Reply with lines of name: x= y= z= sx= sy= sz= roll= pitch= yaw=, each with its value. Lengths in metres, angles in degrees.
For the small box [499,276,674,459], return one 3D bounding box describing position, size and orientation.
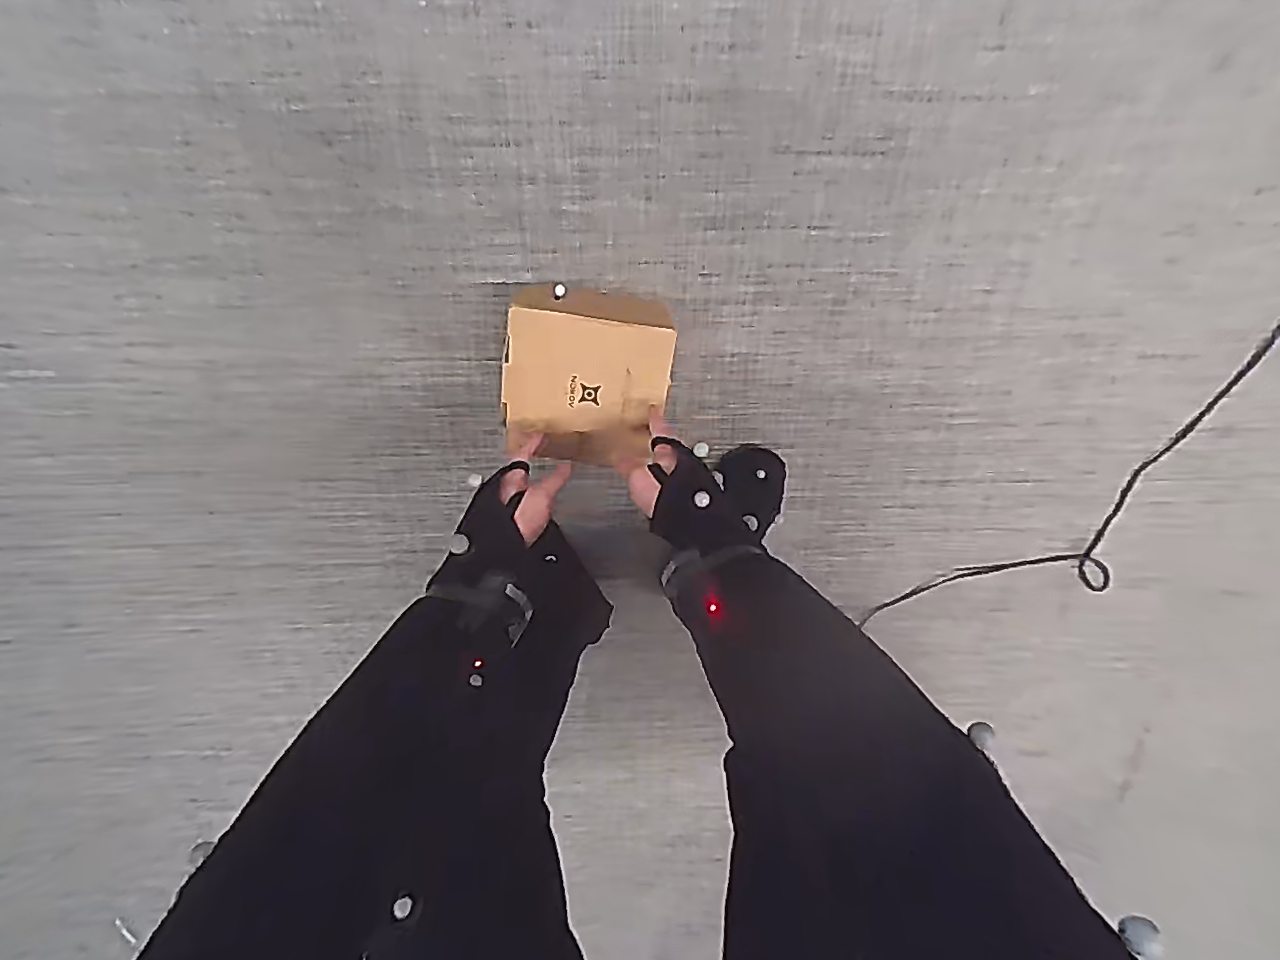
small box: x=-0.064 y=-0.143 z=0.654 sx=0.179 sy=0.176 sz=0.168 roll=6 pitch=119 yaw=-6
